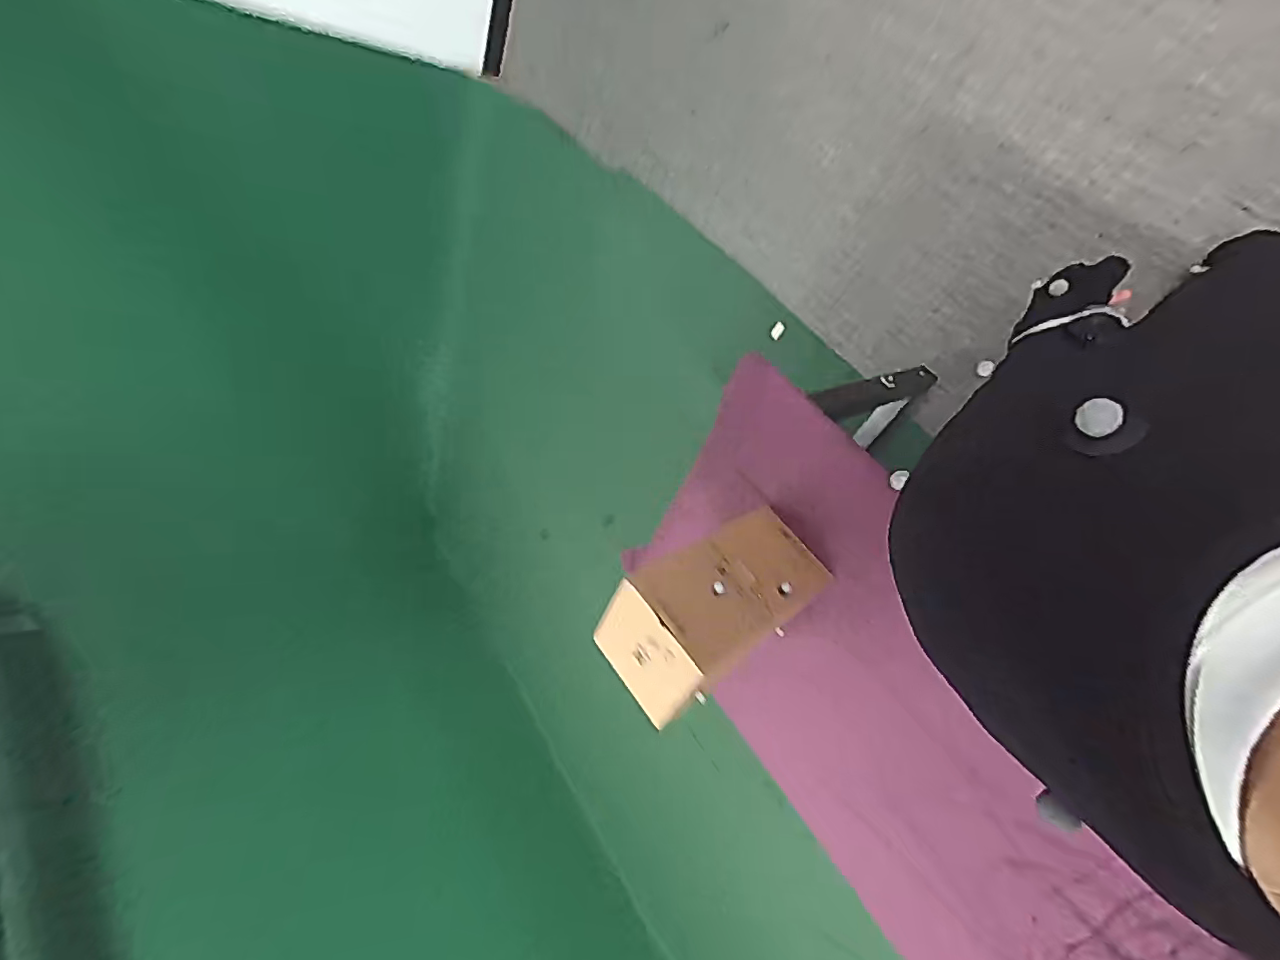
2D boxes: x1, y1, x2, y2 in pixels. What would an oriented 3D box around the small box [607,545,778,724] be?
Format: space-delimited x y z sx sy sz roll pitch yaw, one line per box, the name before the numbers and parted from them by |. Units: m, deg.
small box | 0.080 0.231 0.831 0.168 0.176 0.179 47 135 25
